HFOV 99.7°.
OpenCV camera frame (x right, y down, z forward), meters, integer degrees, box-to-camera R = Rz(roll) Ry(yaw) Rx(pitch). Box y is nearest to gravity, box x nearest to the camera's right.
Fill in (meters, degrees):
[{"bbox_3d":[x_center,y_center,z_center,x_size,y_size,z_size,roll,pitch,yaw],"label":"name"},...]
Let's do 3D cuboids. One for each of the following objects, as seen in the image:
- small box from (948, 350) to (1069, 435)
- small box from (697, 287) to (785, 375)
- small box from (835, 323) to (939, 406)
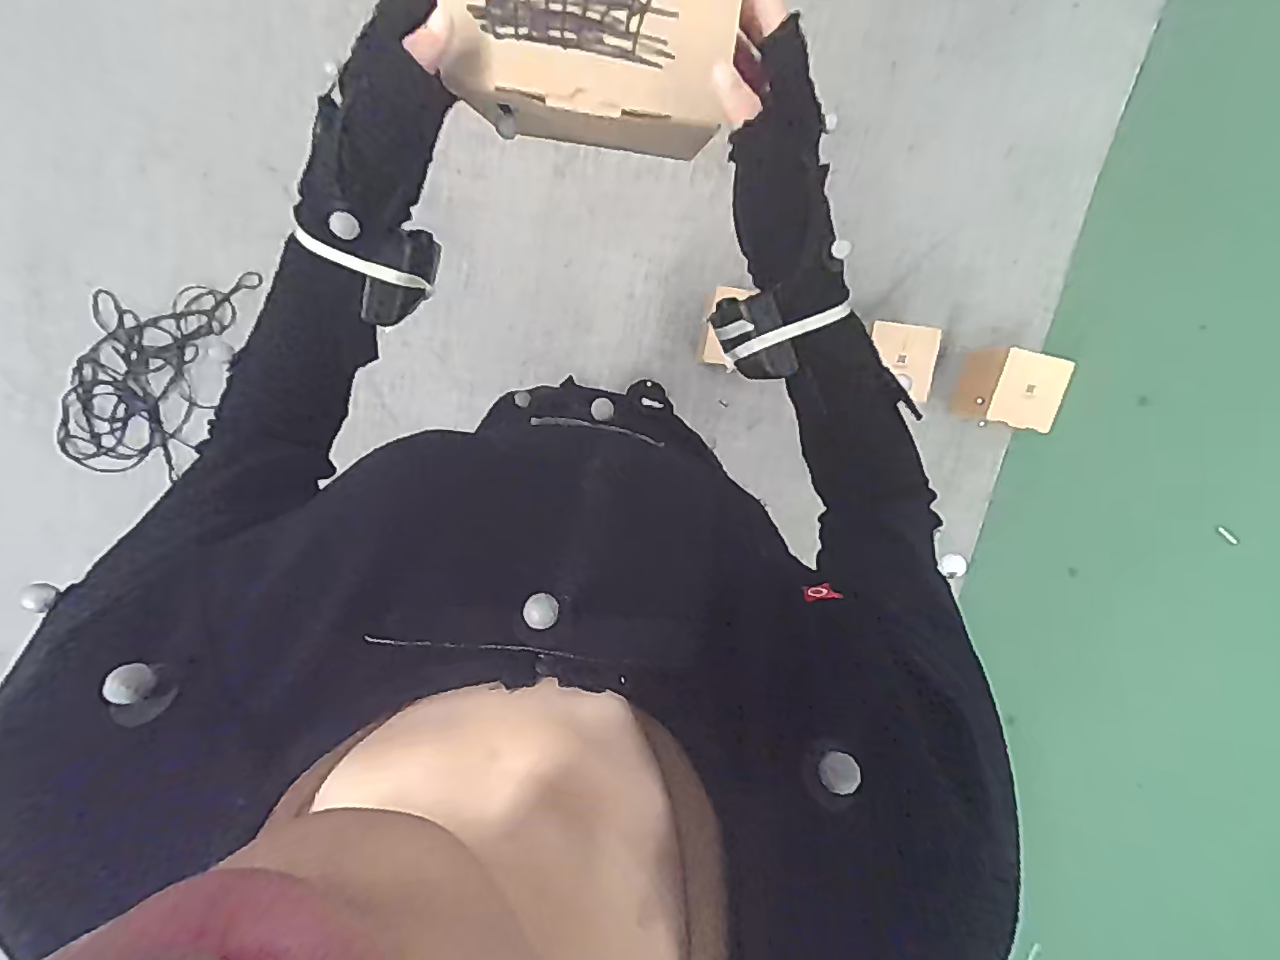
[{"bbox_3d":[0.925,-0.224,1.376,0.168,0.176,0.179,13,101,-3],"label":"small box"},{"bbox_3d":[0.240,-0.360,1.334,0.168,0.176,0.179,10,102,-2],"label":"small box"},{"bbox_3d":[0.608,-0.288,1.357,0.168,0.176,0.179,7,100,-3],"label":"small box"}]
